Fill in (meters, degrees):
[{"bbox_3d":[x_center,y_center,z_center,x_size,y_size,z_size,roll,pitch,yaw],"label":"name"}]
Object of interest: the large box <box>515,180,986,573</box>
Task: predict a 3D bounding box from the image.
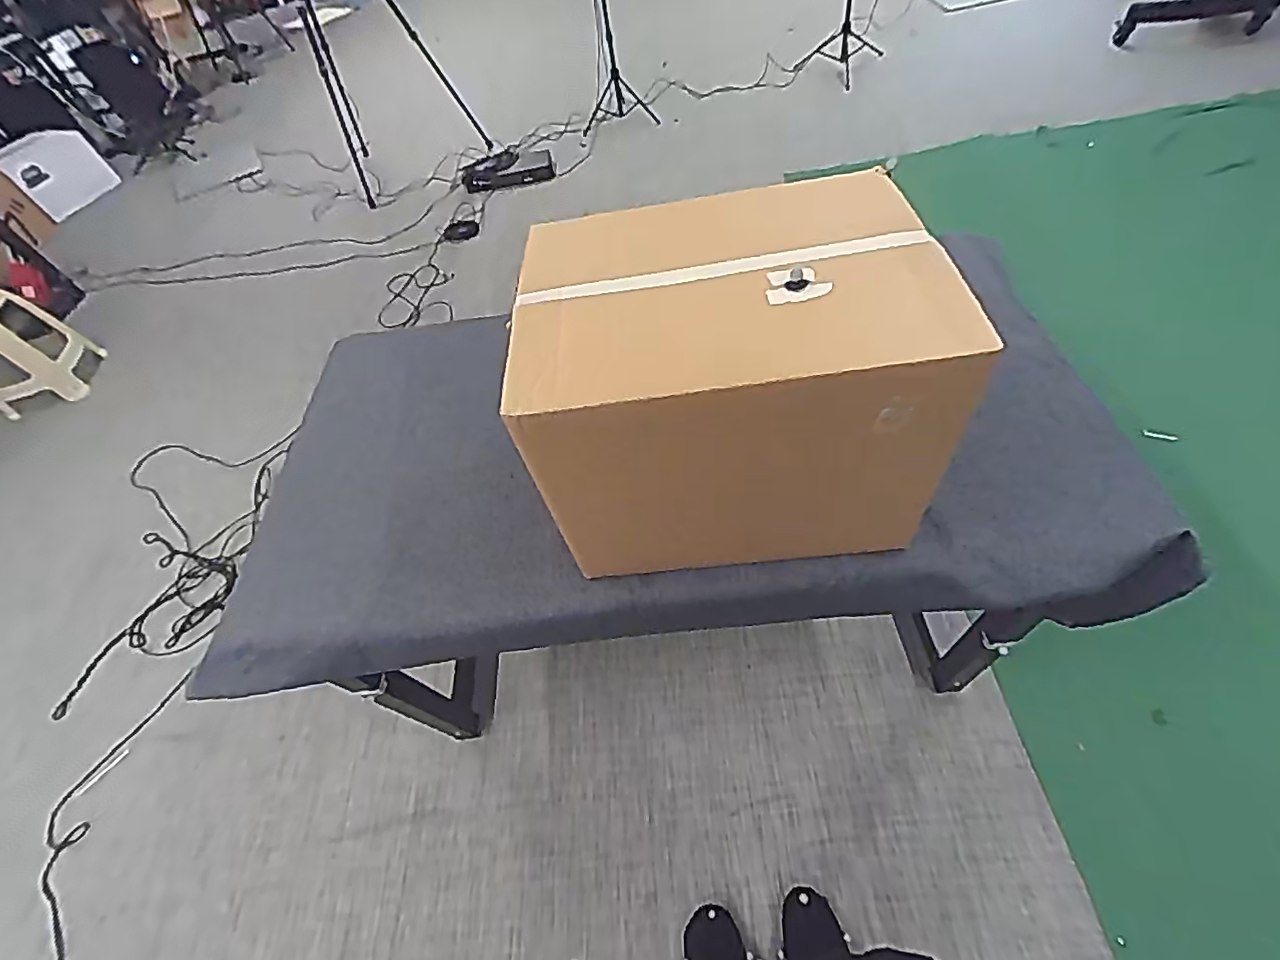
[{"bbox_3d":[0.098,-0.110,0.657,0.408,0.320,0.320,-7,53,5],"label":"large box"}]
